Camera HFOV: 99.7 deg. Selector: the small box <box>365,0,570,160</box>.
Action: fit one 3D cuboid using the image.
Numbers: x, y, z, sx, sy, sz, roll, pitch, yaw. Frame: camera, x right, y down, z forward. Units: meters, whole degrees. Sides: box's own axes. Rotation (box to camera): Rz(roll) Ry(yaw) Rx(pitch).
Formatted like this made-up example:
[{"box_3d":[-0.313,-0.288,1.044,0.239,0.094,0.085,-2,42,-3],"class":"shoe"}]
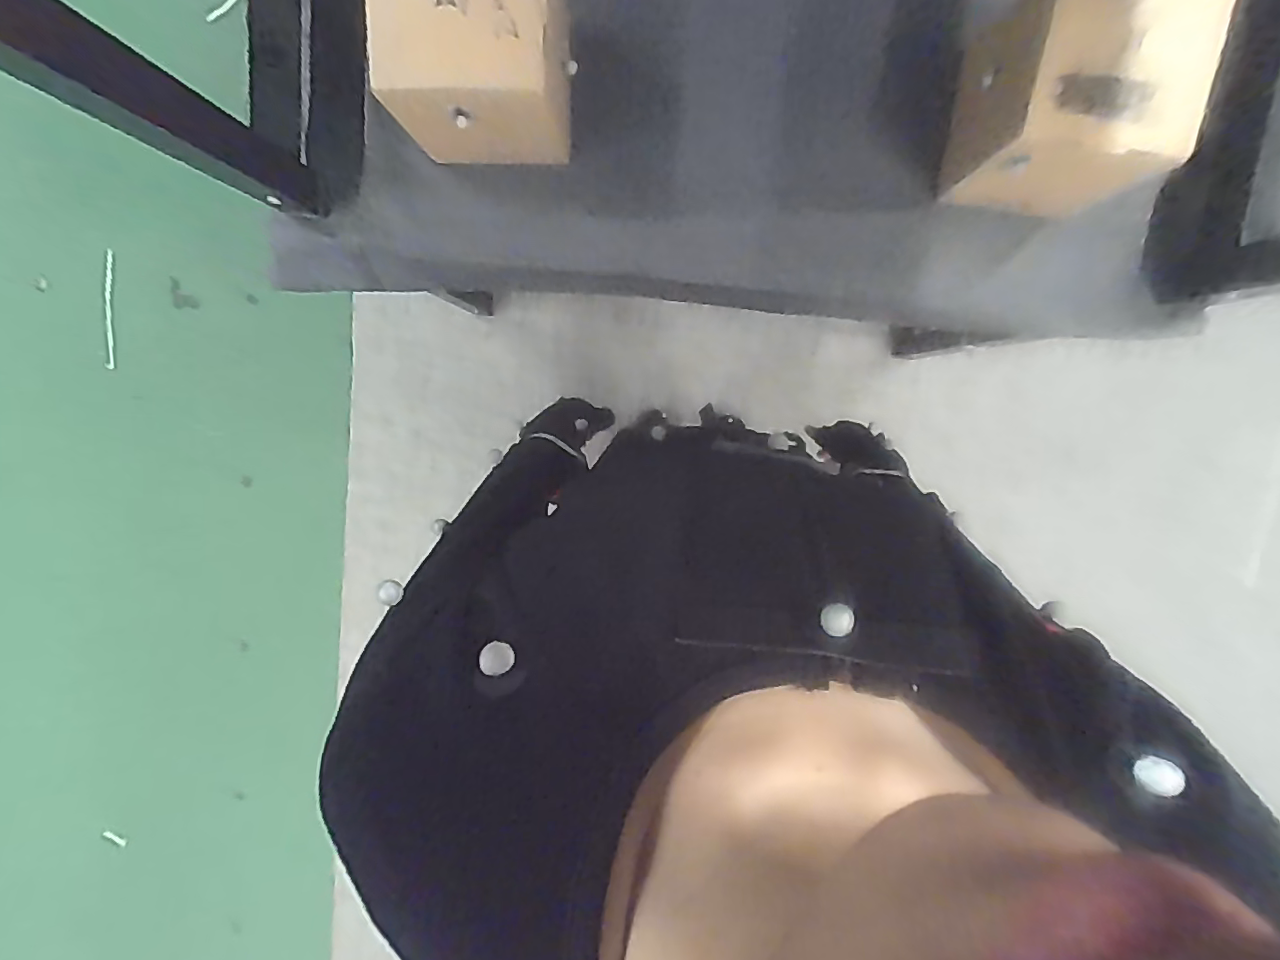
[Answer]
[{"box_3d":[-0.178,-0.477,0.599,0.179,0.176,0.168,1,99,1],"class":"small box"}]
